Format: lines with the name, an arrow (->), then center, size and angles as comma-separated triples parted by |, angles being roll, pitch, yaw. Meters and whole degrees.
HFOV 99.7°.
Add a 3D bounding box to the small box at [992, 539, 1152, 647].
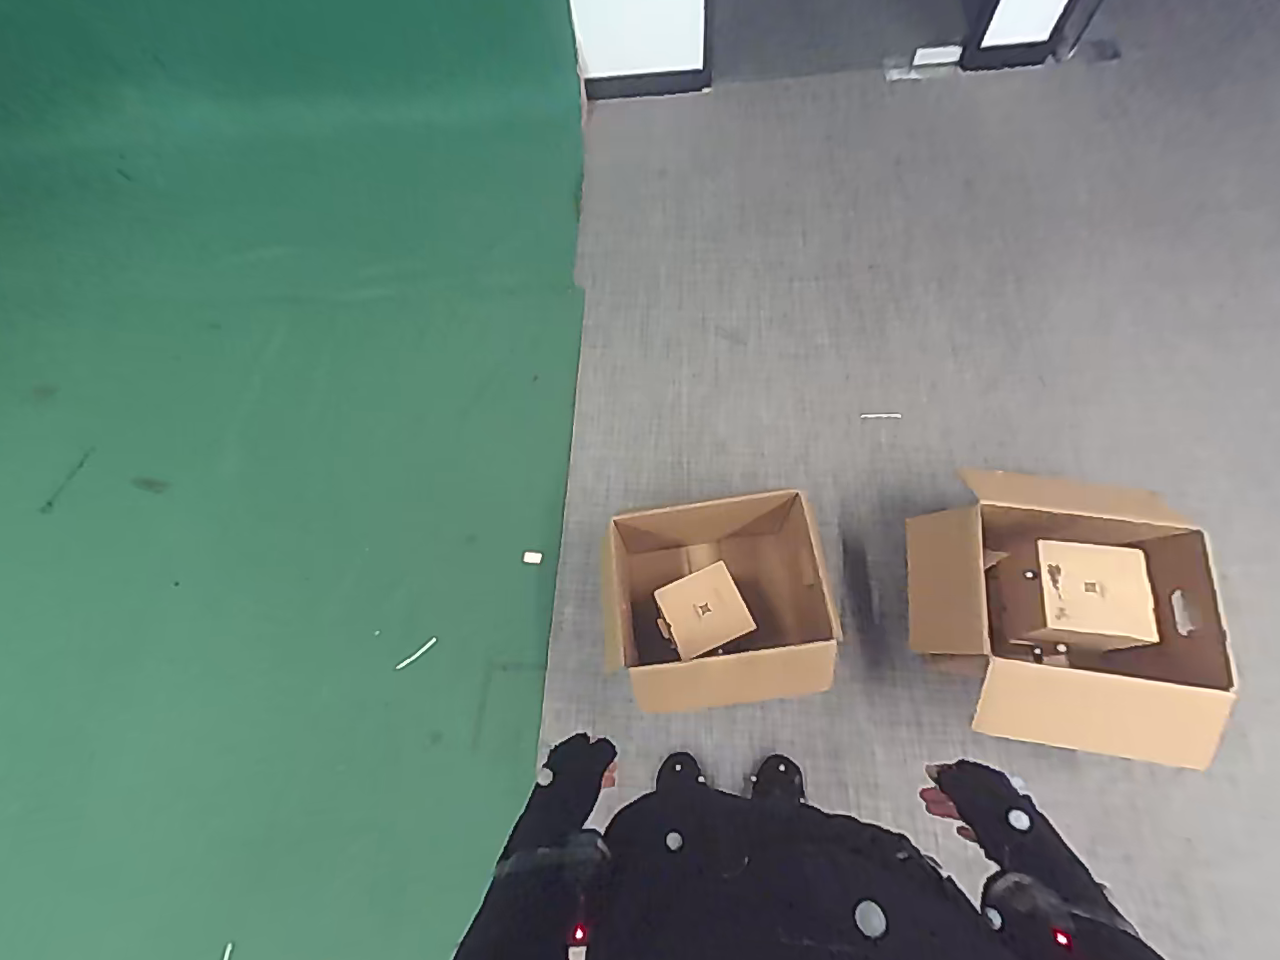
small box -> 0.826, 0.225, 1.054 | 0.179, 0.176, 0.168 | 5, 67, 9
